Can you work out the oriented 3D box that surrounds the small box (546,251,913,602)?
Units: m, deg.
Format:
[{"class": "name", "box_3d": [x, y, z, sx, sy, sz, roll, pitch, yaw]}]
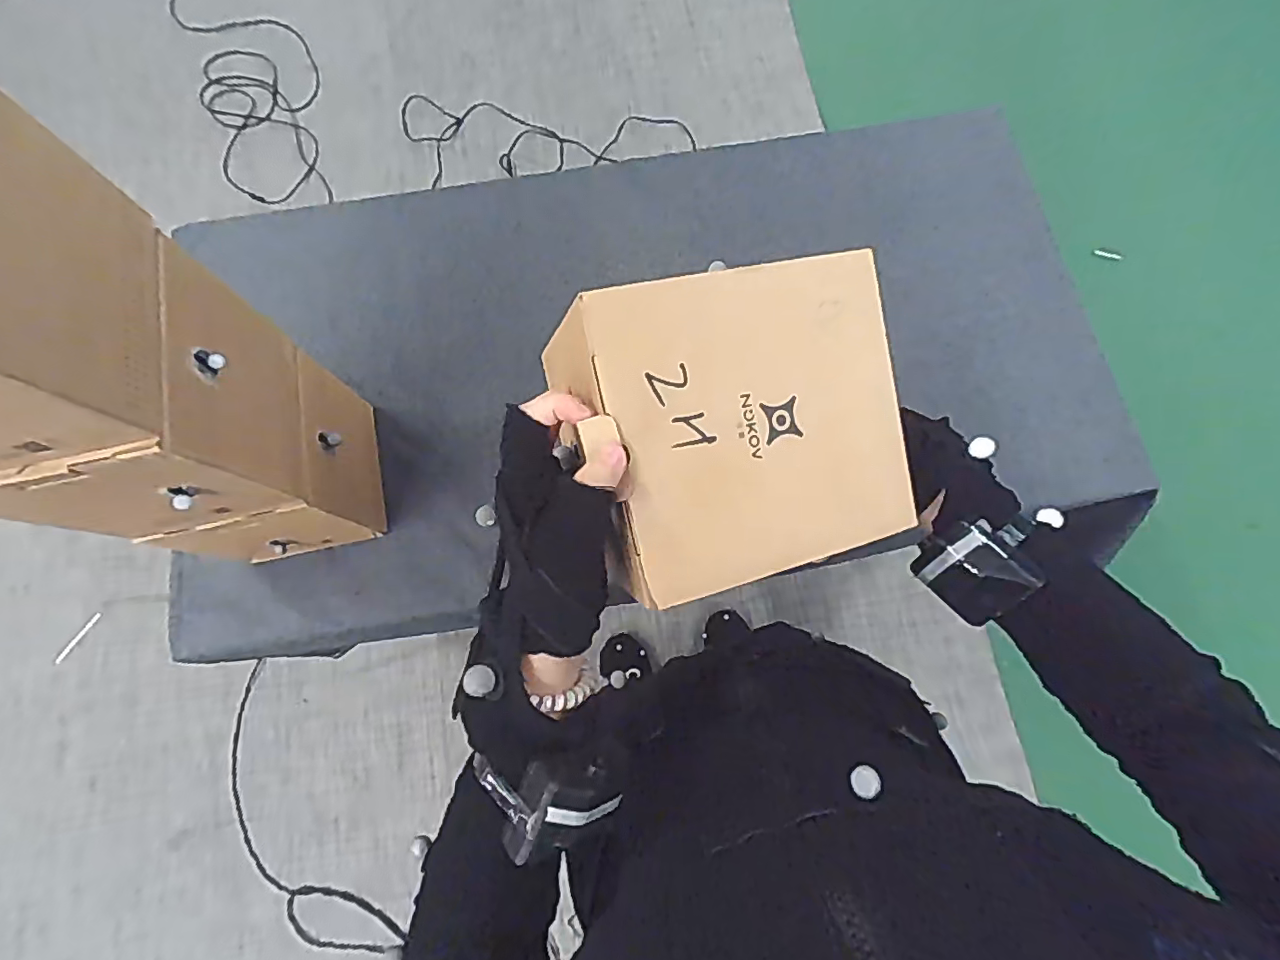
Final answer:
[{"class": "small box", "box_3d": [0.045, -0.038, 0.368, 0.179, 0.176, 0.168, -13, 96, -15]}]

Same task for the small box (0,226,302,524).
[{"class": "small box", "box_3d": [-0.408, -0.067, 0.444, 0.168, 0.176, 0.179, -12, 76, -4]}]

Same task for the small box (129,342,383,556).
[{"class": "small box", "box_3d": [-0.409, -0.024, 0.601, 0.168, 0.176, 0.179, -12, 76, -3]}]

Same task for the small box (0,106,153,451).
[{"class": "small box", "box_3d": [-0.409, -0.114, 0.287, 0.168, 0.176, 0.179, -13, 76, -5]}]
